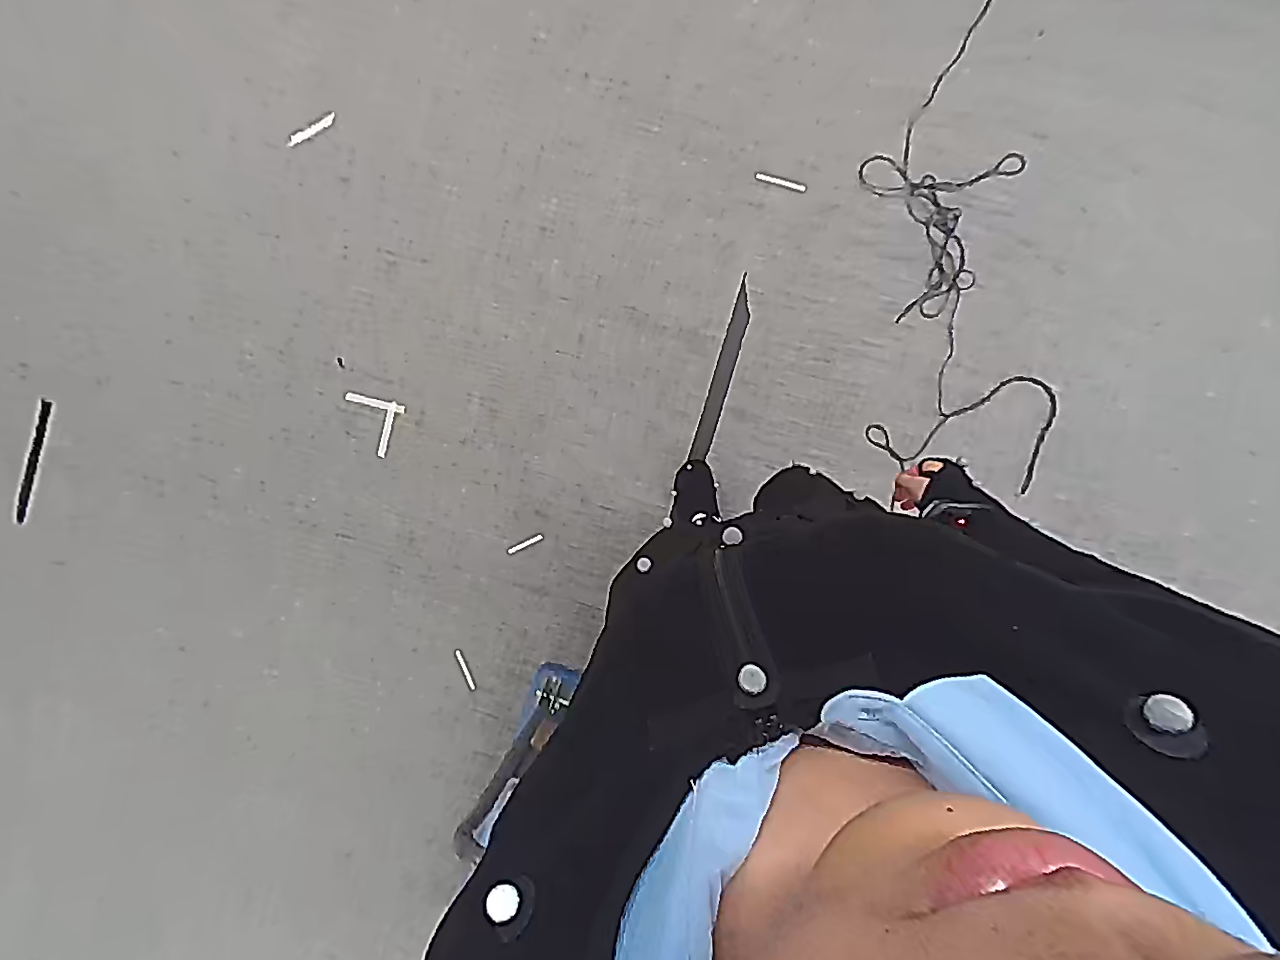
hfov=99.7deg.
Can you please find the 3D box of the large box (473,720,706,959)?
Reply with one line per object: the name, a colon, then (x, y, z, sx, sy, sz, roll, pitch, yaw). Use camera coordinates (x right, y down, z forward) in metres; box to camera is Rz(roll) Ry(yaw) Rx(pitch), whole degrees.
large box: (-0.089, 0.788, 1.192, 0.408, 0.320, 0.320, 15, 90, 3)
